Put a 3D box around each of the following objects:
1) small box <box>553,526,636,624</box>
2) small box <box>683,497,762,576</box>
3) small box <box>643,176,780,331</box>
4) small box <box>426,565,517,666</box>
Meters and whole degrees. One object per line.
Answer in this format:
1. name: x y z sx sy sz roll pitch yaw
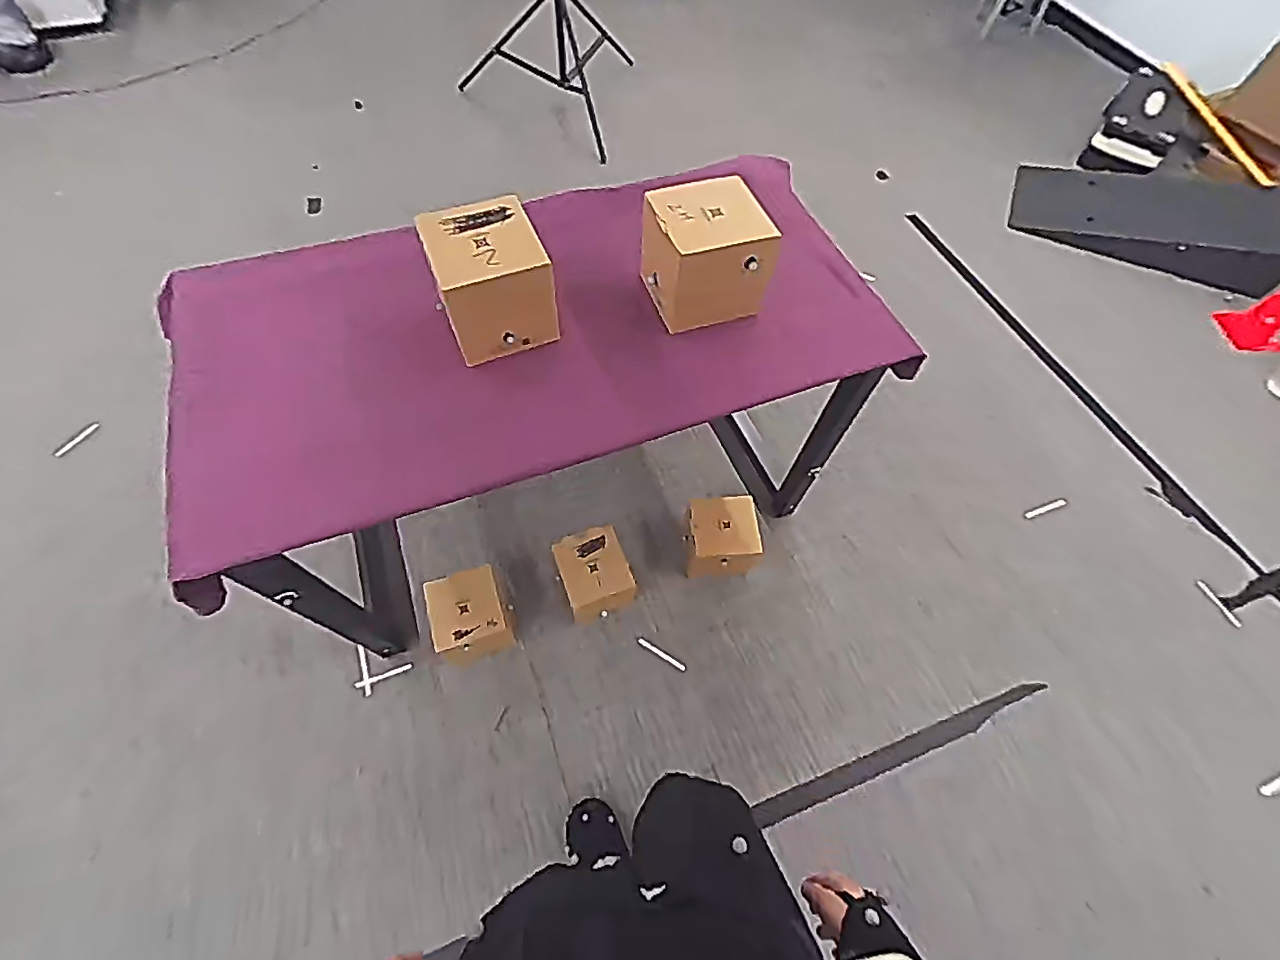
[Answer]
1. small box: -0.119 0.251 1.410 0.168 0.176 0.179 -19 65 -12
2. small box: 0.218 0.157 1.478 0.179 0.176 0.168 -3 62 -3
3. small box: 0.112 -0.388 0.939 0.179 0.176 0.168 -17 62 -11
4. small box: -0.416 0.341 1.348 0.168 0.176 0.179 -16 62 -11
